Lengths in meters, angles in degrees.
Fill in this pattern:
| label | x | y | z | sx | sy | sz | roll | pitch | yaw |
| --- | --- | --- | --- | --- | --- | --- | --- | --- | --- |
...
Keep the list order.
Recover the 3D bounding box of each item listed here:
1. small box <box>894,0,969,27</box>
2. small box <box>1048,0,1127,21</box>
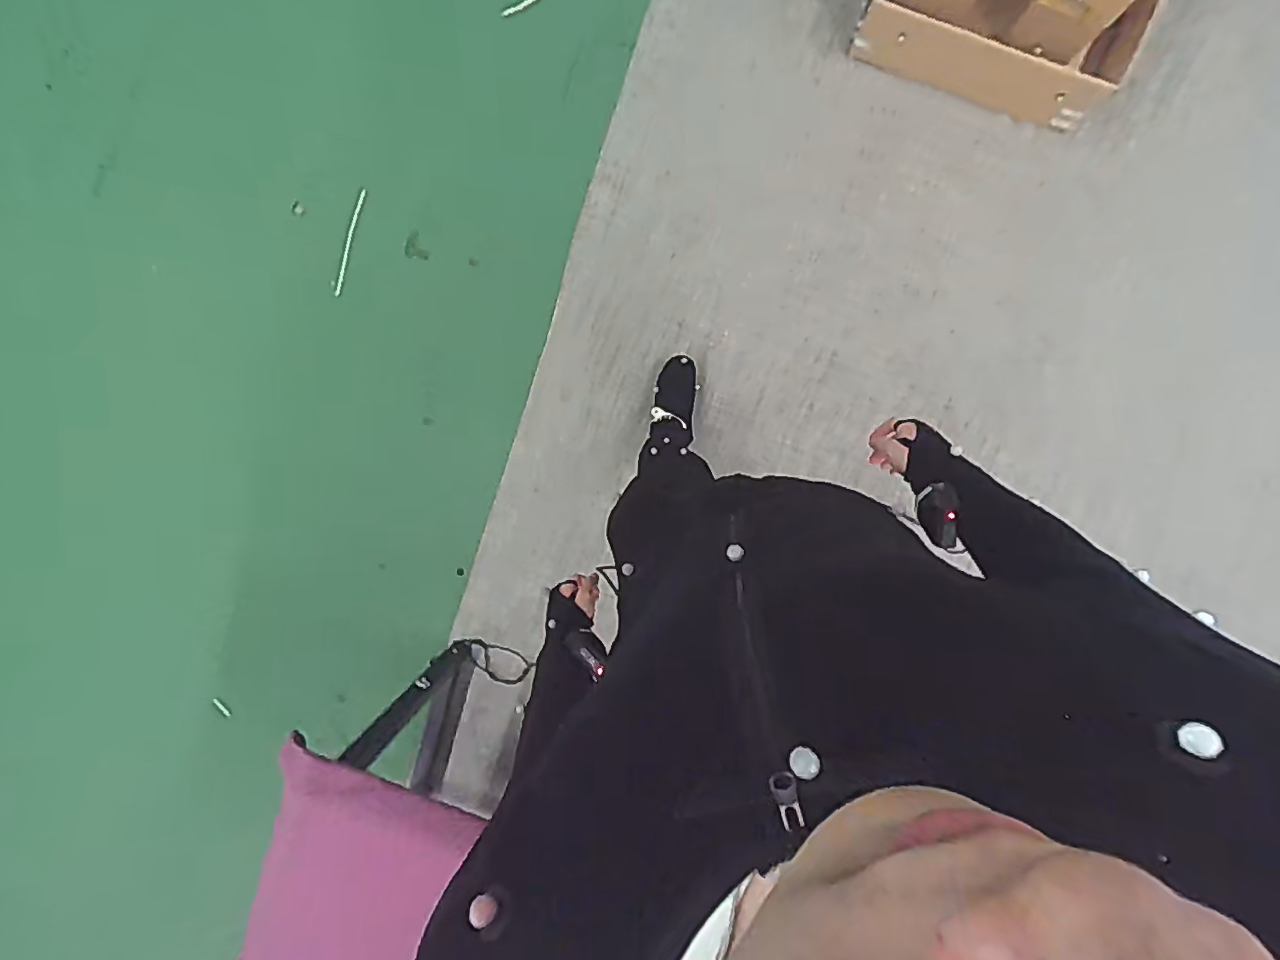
| label | x | y | z | sx | sy | sz | roll | pitch | yaw |
| --- | --- | --- | --- | --- | --- | --- | --- | --- | --- |
| small box | 0.728 | -1.231 | 1.265 | 0.168 | 0.176 | 0.179 | 23 | 98 | 2 |
| small box | 0.971 | -1.104 | 1.097 | 0.168 | 0.176 | 0.179 | 23 | 99 | 2 |
